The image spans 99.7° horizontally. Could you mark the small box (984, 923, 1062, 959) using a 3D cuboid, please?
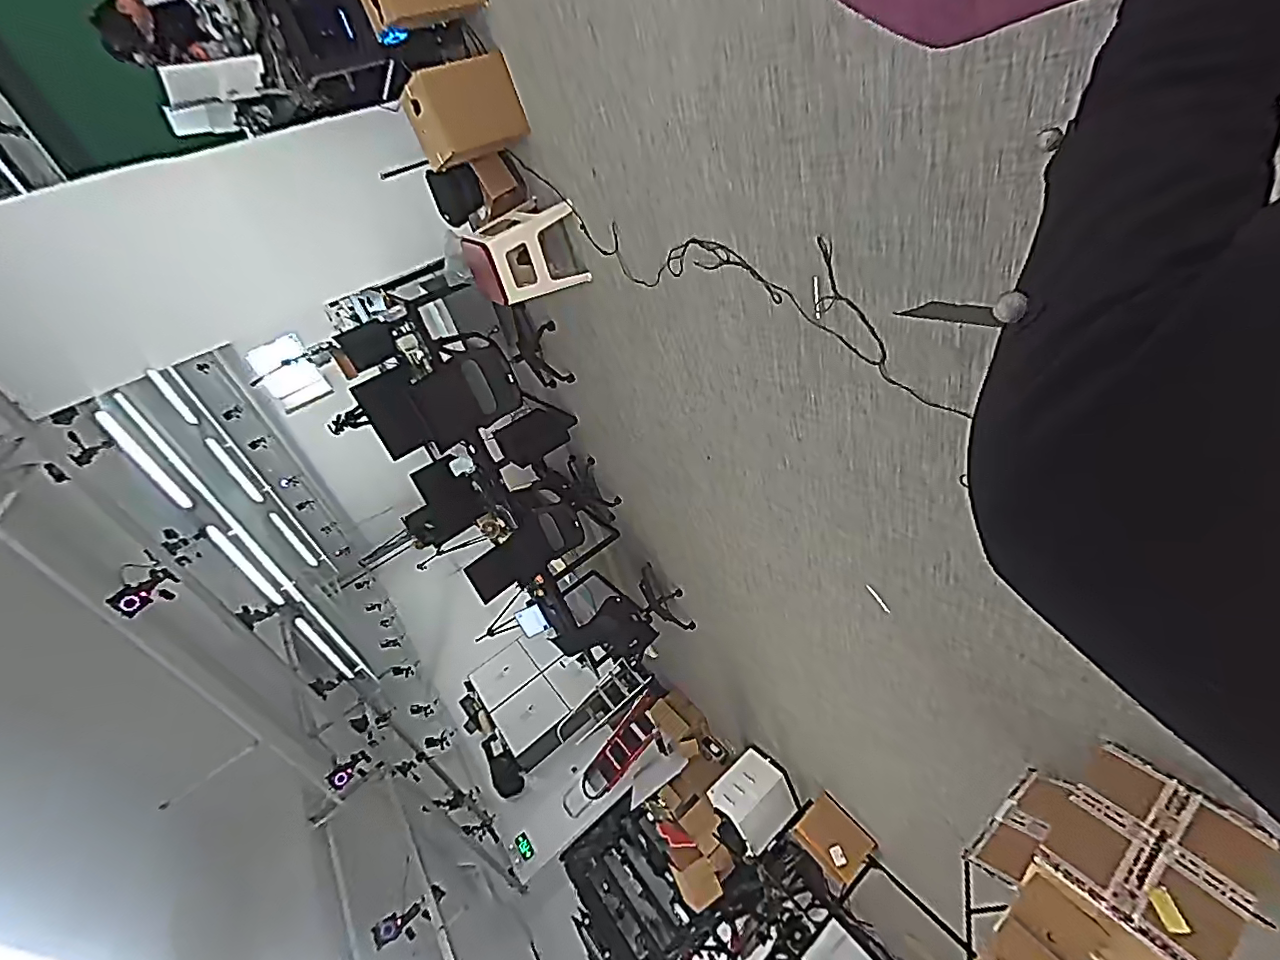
[{"bbox_3d":[1.065,1.370,1.483,0.179,0.176,0.168,35,148,47],"label":"small box"}]

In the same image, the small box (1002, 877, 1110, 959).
[{"bbox_3d":[1.199,1.308,1.560,0.179,0.176,0.168,37,150,44],"label":"small box"}]
